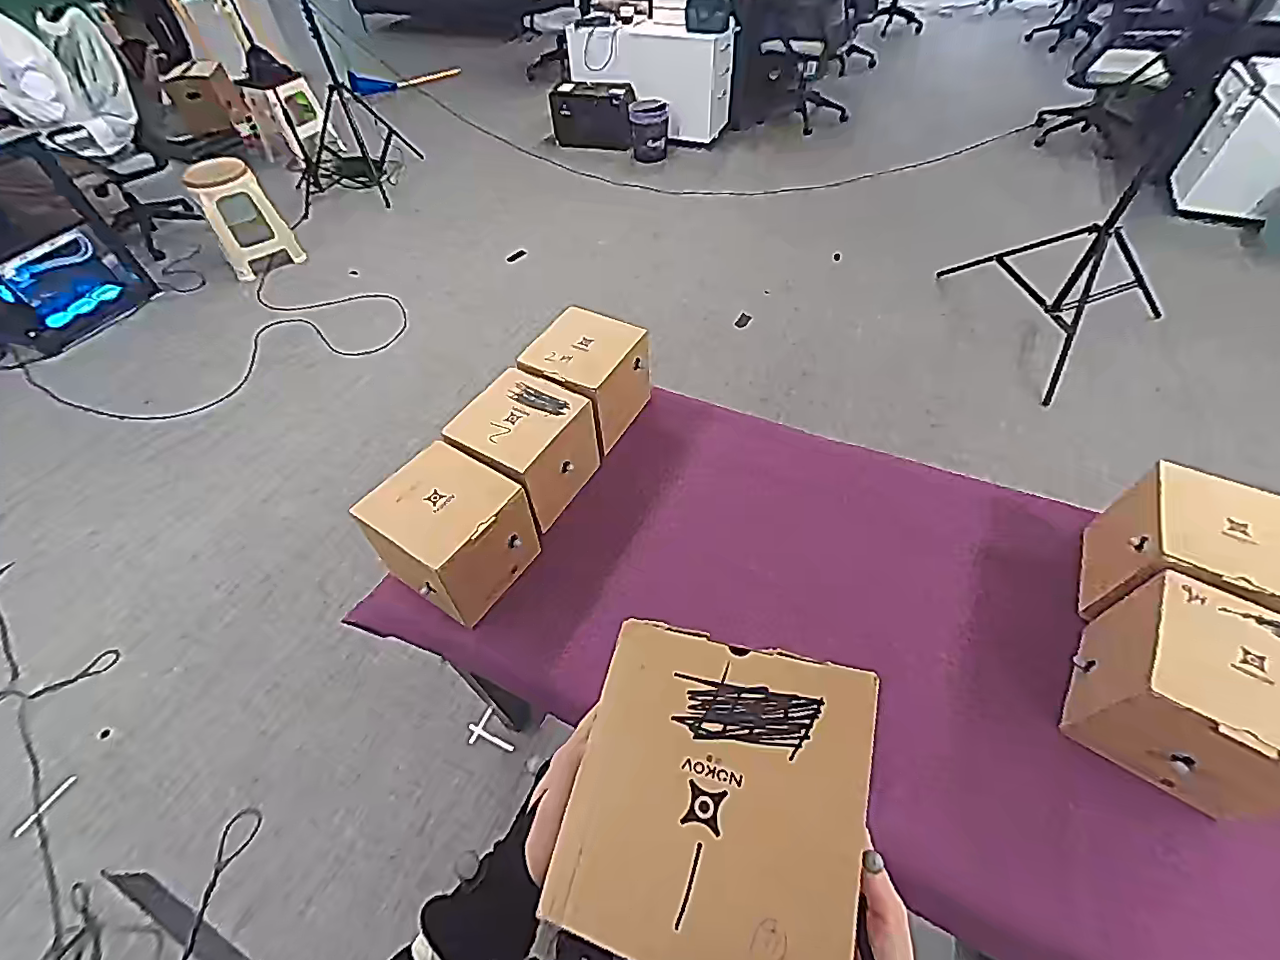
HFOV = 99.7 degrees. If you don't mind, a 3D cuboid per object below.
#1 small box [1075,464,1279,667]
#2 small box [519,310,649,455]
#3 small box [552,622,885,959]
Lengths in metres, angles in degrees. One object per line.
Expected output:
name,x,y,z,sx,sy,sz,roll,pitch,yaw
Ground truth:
small box,0.731,0.116,0.731,0.168,0.176,0.179,23,55,19
small box,-0.095,-0.180,1.002,0.168,0.176,0.179,23,57,20
small box,0.068,0.224,0.379,0.168,0.176,0.179,6,61,22
